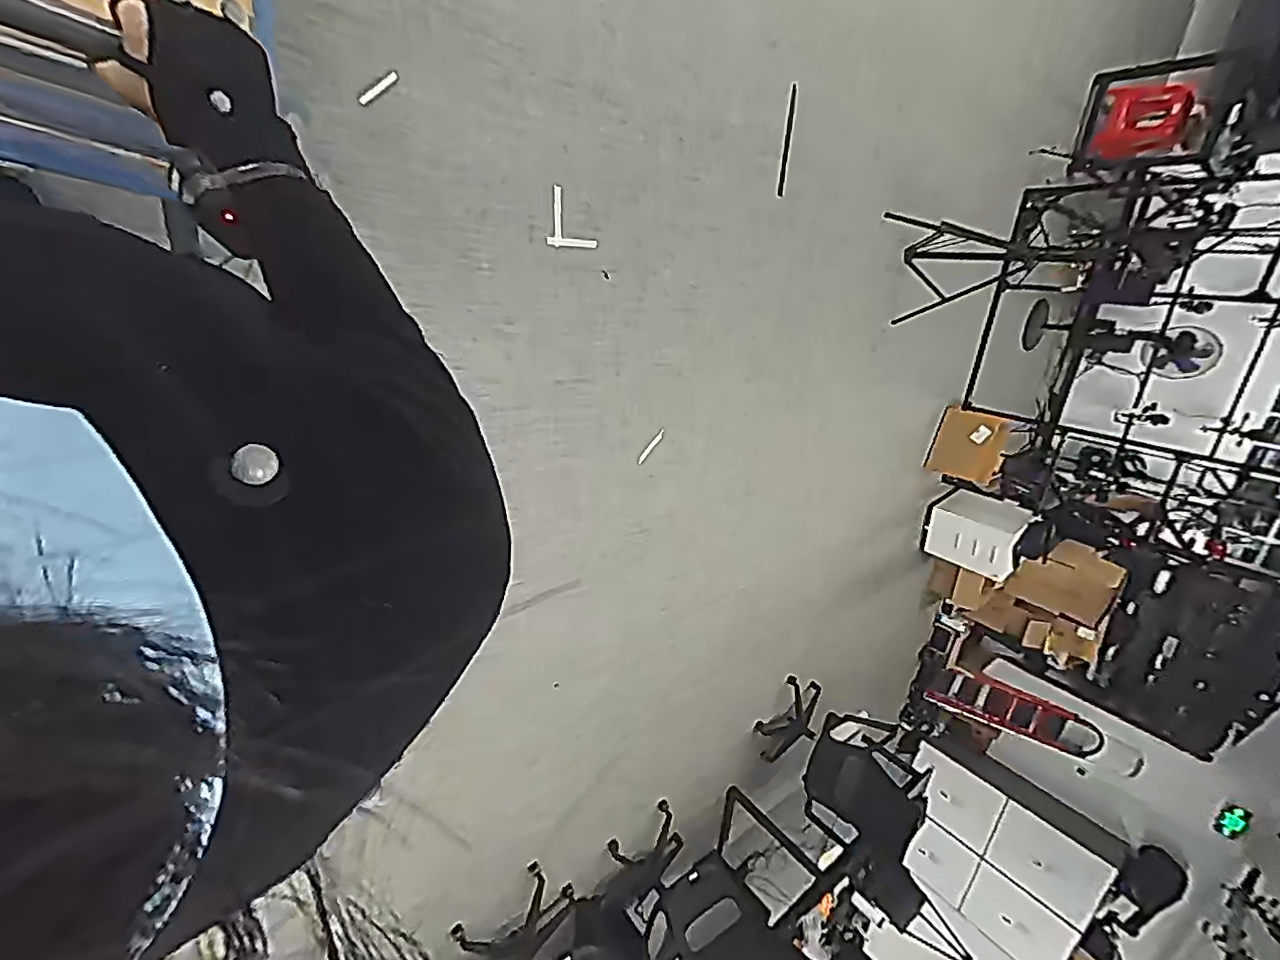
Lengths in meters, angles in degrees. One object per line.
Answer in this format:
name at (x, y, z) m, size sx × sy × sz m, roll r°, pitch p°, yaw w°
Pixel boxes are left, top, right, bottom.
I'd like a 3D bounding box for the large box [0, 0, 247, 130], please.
large box at (-0.767, -0.695, 0.677) m, size 0.408 × 0.320 × 0.320 m, roll -5°, pitch 113°, yaw -42°
